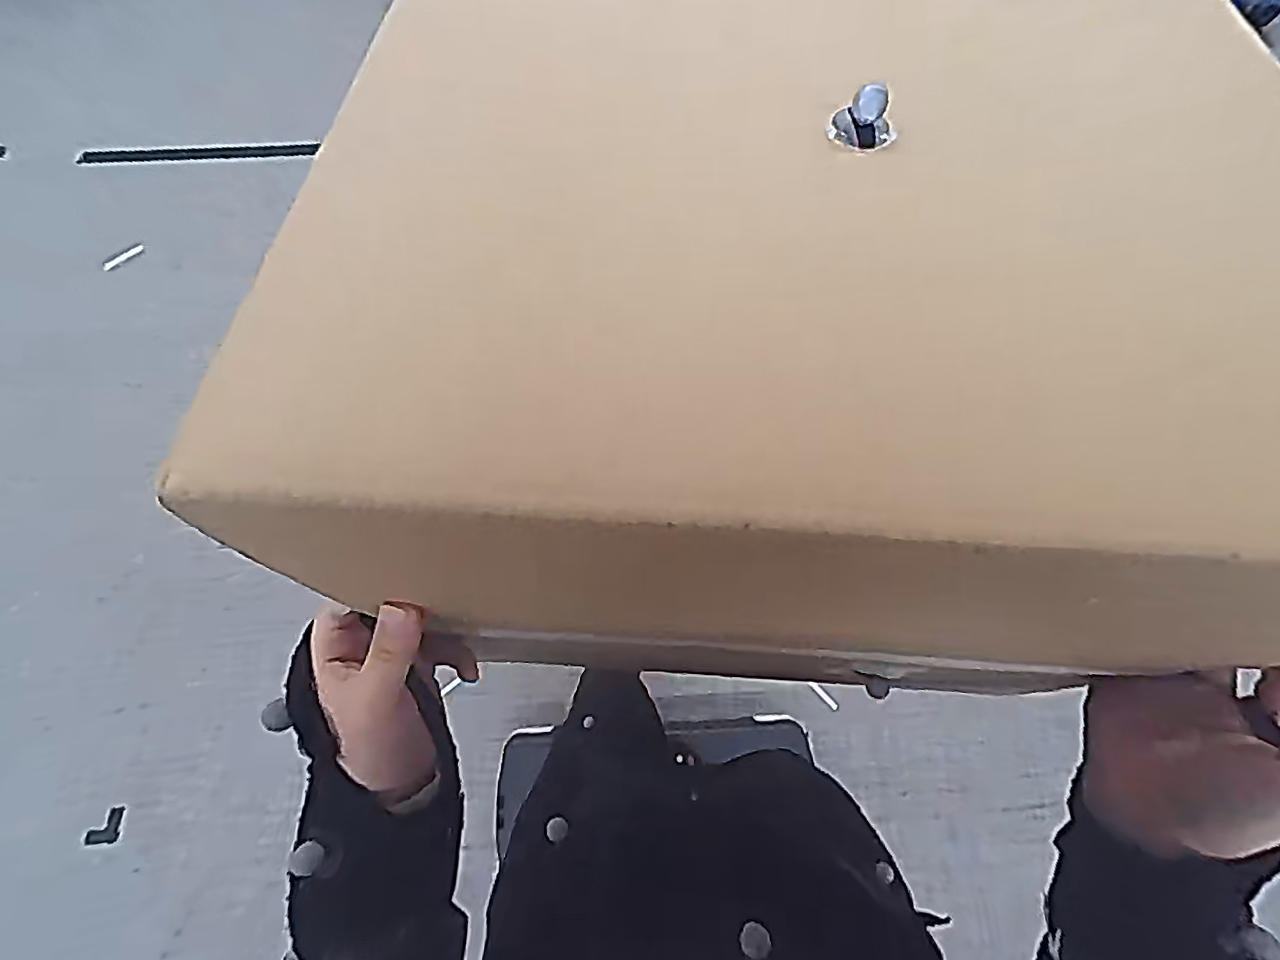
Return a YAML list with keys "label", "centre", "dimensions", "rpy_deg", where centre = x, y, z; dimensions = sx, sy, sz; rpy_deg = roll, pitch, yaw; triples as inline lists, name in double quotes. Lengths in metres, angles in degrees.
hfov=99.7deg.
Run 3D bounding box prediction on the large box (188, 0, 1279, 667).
- label: "large box"
  centre: [0.074, -0.069, 0.342]
  dimensions: [0.408, 0.320, 0.320]
  rpy_deg: [2, 66, 1]
